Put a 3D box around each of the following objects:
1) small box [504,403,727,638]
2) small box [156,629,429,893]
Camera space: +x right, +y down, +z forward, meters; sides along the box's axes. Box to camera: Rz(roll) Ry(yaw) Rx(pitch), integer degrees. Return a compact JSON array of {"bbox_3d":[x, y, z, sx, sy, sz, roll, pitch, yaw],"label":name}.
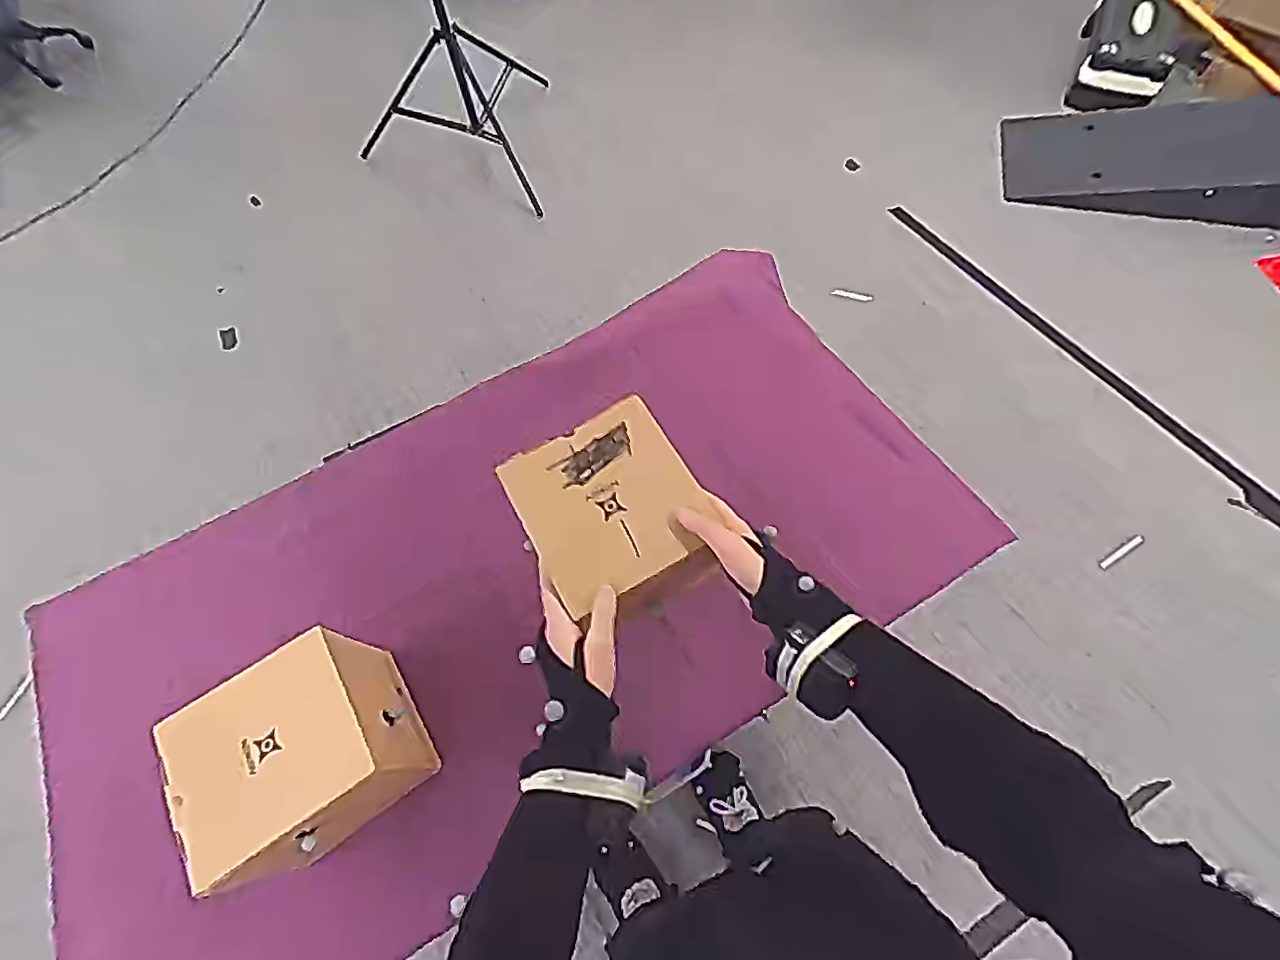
[{"bbox_3d":[-0.025,0.053,0.599,0.168,0.176,0.179,-28,69,-8],"label":"small box"},{"bbox_3d":[-0.357,0.293,0.592,0.179,0.176,0.168,-33,66,-12],"label":"small box"}]
